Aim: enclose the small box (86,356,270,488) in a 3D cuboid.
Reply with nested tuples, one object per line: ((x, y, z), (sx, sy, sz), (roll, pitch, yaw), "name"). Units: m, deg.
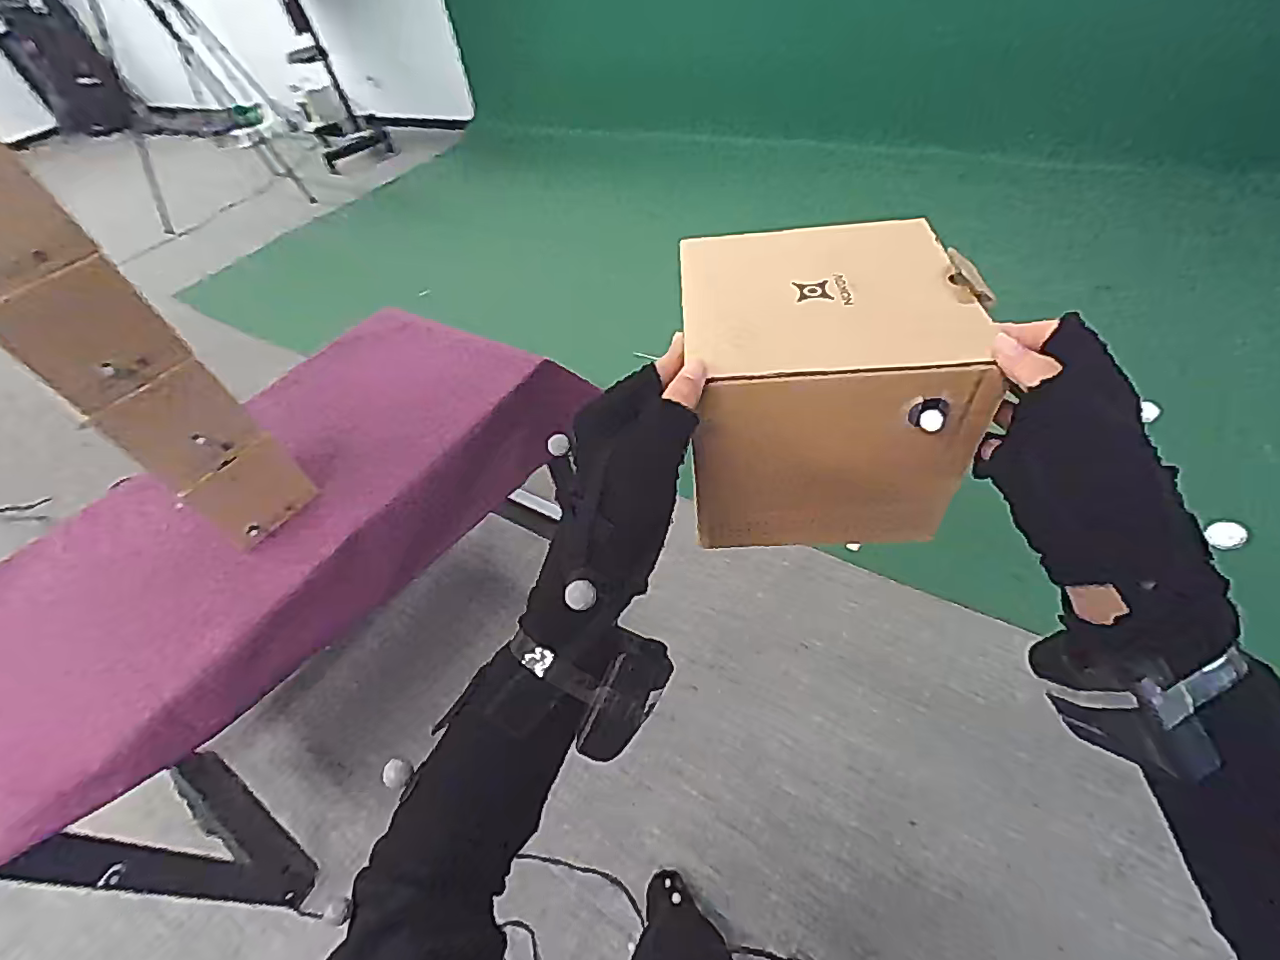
((-0.783, -0.114, 0.911), (0.179, 0.176, 0.168), (23, 57, 27), "small box")

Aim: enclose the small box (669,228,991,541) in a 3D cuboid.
((0.116, -0.066, 0.410), (0.179, 0.176, 0.168), (-3, 49, 5), "small box")

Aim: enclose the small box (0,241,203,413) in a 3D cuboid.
((-0.808, -0.223, 0.792), (0.179, 0.176, 0.168), (23, 57, 27), "small box")

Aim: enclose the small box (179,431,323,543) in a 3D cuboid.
((-0.753, -0.004, 1.030), (0.179, 0.176, 0.168), (23, 56, 28), "small box")
